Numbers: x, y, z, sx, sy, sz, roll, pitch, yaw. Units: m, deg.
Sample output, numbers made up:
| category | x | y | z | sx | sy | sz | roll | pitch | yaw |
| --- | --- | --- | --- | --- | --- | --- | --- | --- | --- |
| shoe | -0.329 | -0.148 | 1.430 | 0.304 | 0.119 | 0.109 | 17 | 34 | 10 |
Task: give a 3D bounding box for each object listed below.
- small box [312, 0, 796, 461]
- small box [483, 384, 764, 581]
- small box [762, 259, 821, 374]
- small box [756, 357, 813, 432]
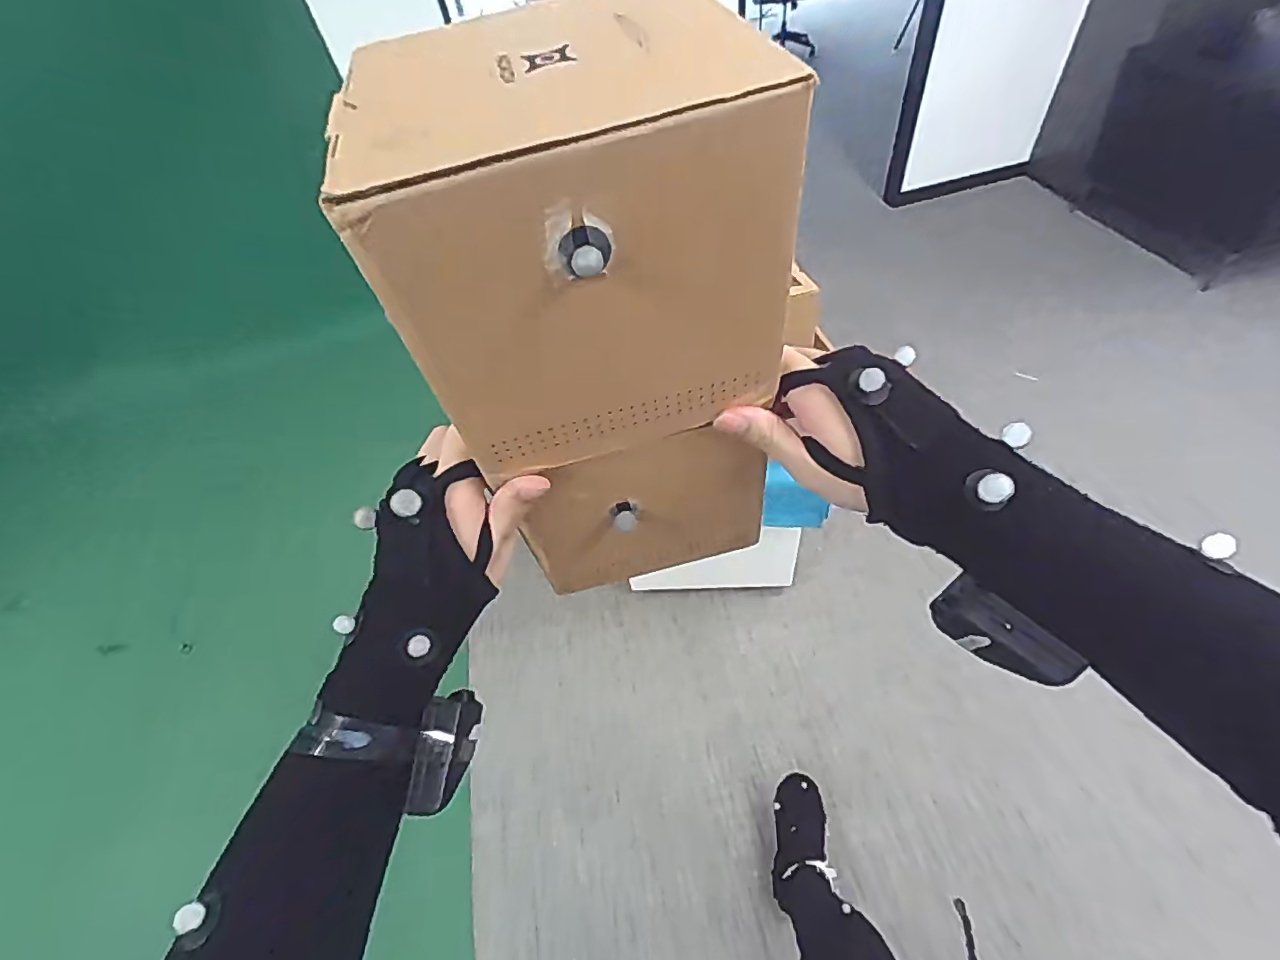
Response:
| category | x | y | z | sx | sy | sz | roll | pitch | yaw |
| --- | --- | --- | --- | --- | --- | --- | --- | --- | --- |
| small box | -0.033 | -0.133 | 0.294 | 0.179 | 0.176 | 0.168 | -15 | 53 | -2 |
| small box | -0.011 | -0.041 | 0.429 | 0.179 | 0.176 | 0.168 | -15 | 53 | -1 |
| small box | 0.270 | -0.344 | 1.170 | 0.179 | 0.176 | 0.168 | -15 | 47 | -1 |
| small box | 0.295 | -0.234 | 1.290 | 0.179 | 0.176 | 0.168 | -14 | 48 | 0 |
